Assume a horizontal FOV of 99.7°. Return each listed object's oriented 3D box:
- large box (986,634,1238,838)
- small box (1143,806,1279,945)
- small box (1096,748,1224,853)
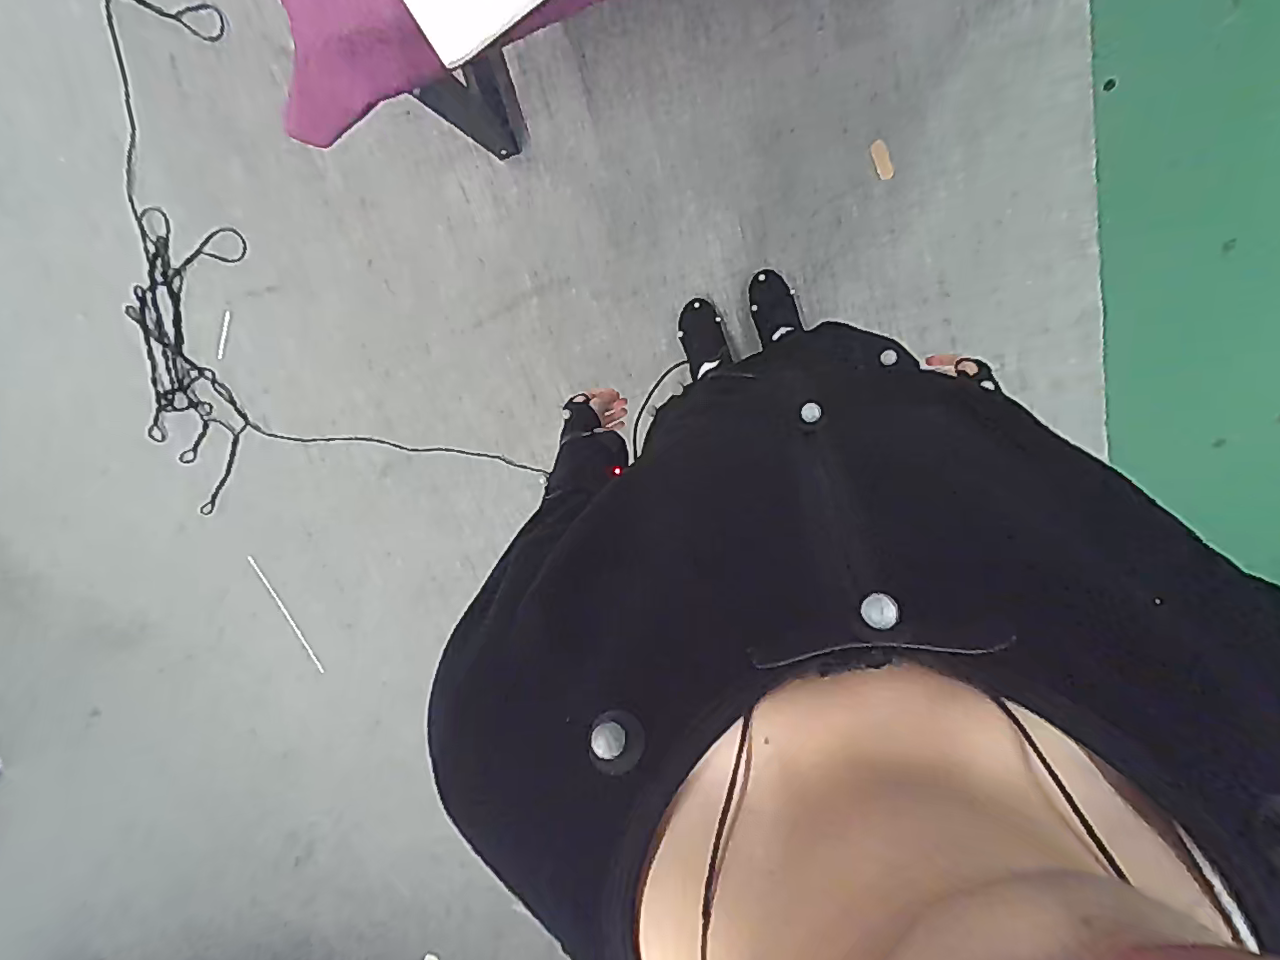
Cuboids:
[{"bbox_3d":[1.322,0.722,1.555,0.408,0.320,0.320,-30,105,11],"label":"large box"},{"bbox_3d":[1.259,0.847,1.171,0.179,0.176,0.168,-23,106,12],"label":"small box"},{"bbox_3d":[1.270,0.788,1.321,0.168,0.176,0.179,-24,105,12],"label":"small box"}]
